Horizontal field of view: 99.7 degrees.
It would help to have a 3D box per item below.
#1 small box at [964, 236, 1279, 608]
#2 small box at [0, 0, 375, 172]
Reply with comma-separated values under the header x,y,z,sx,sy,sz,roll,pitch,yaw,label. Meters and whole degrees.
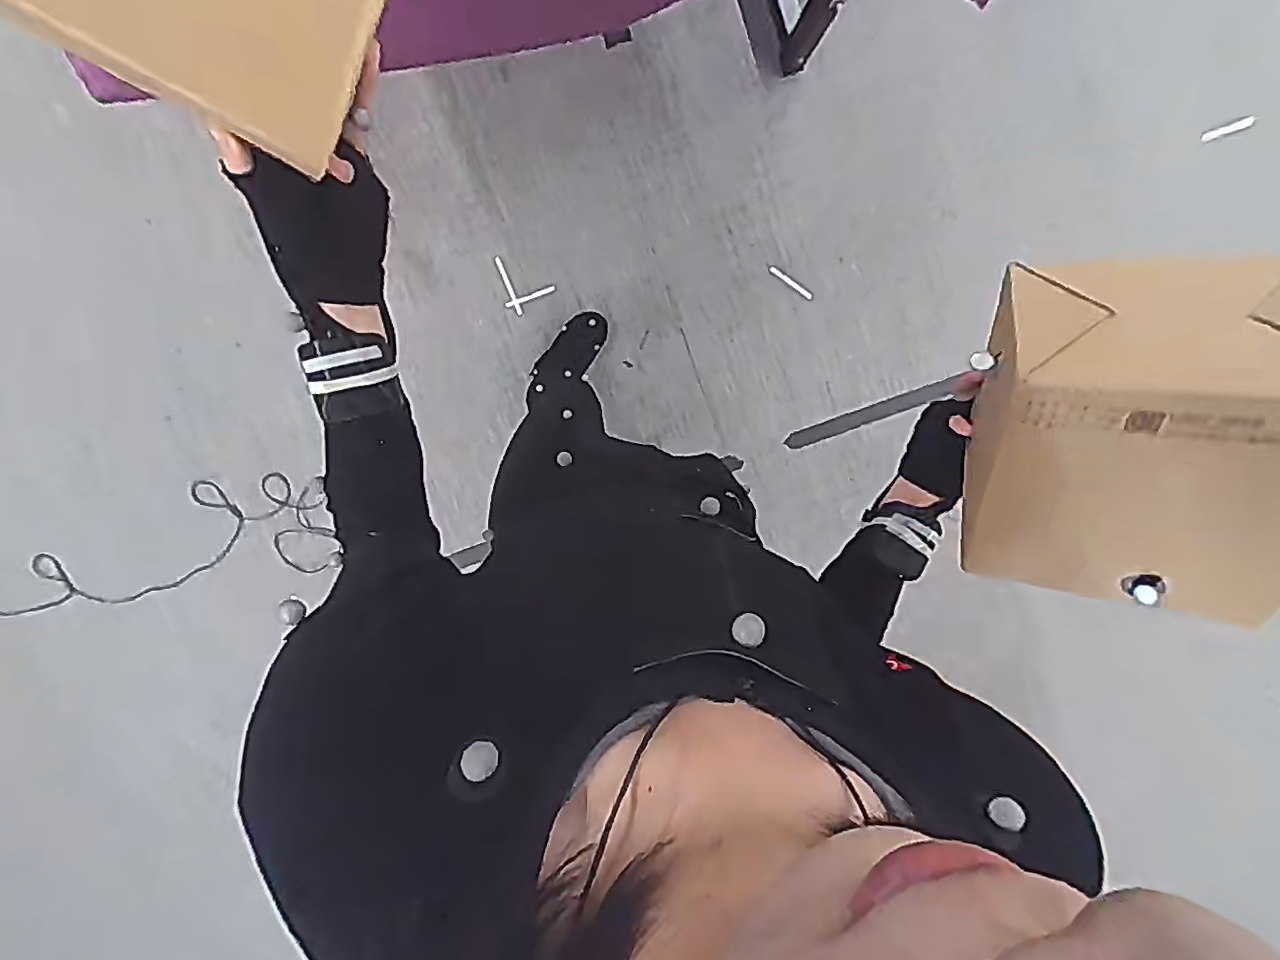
x,y,z,sx,sy,sz,roll,pitch,yaw,label
0.328,-0.050,0.362,0.168,0.179,0.176,9,134,26,small box
-0.210,-0.273,0.243,0.168,0.179,0.176,17,103,-35,small box
